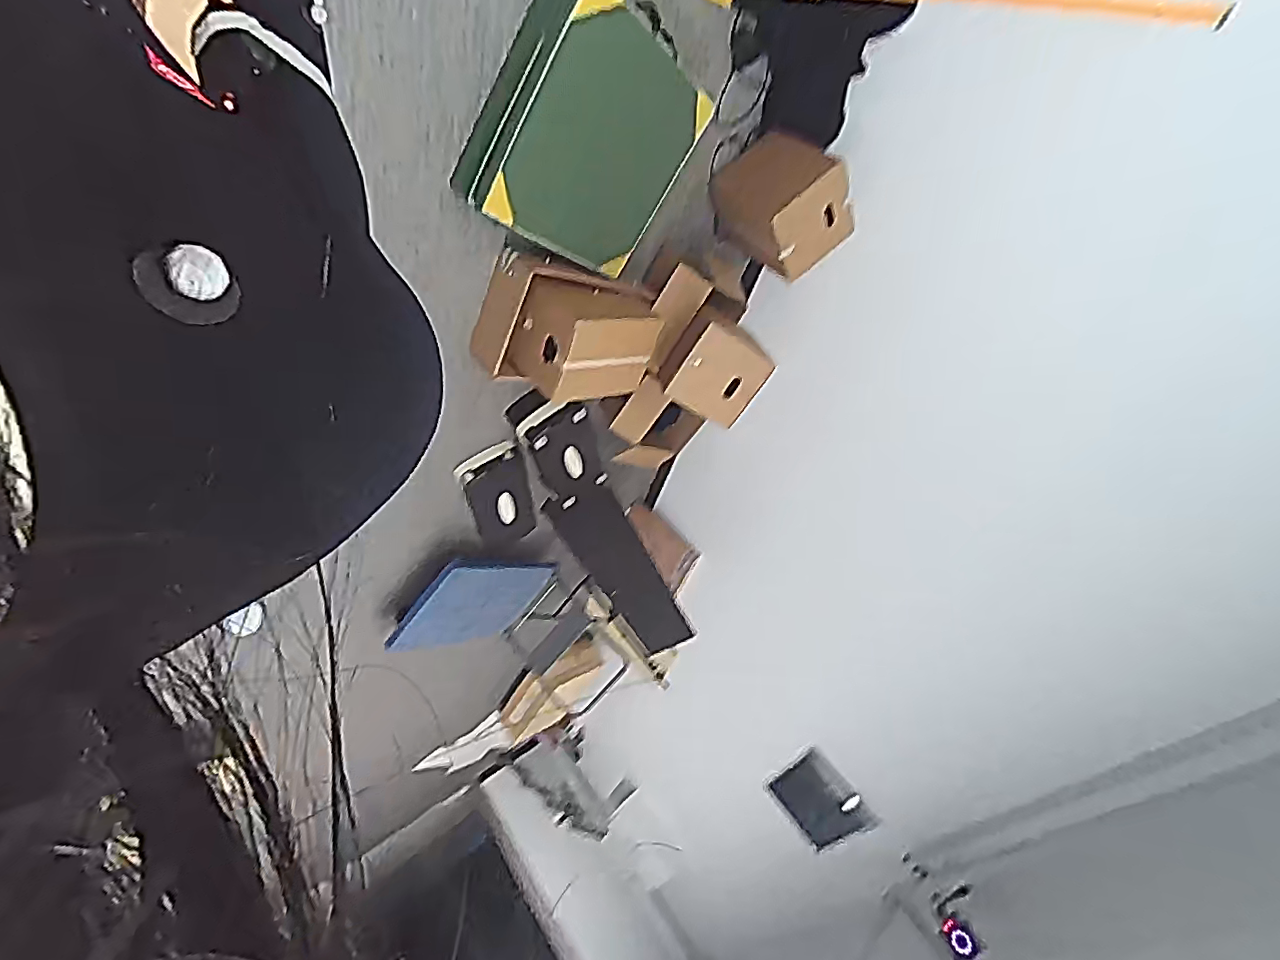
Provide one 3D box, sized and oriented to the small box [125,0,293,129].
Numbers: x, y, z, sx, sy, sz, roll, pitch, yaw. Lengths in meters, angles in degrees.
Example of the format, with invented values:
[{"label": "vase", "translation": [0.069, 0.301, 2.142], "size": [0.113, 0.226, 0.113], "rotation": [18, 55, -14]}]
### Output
[{"label": "small box", "translation": [-0.664, -0.692, 0.830], "size": [0.168, 0.176, 0.179], "rotation": [-9, 139, -50]}]
